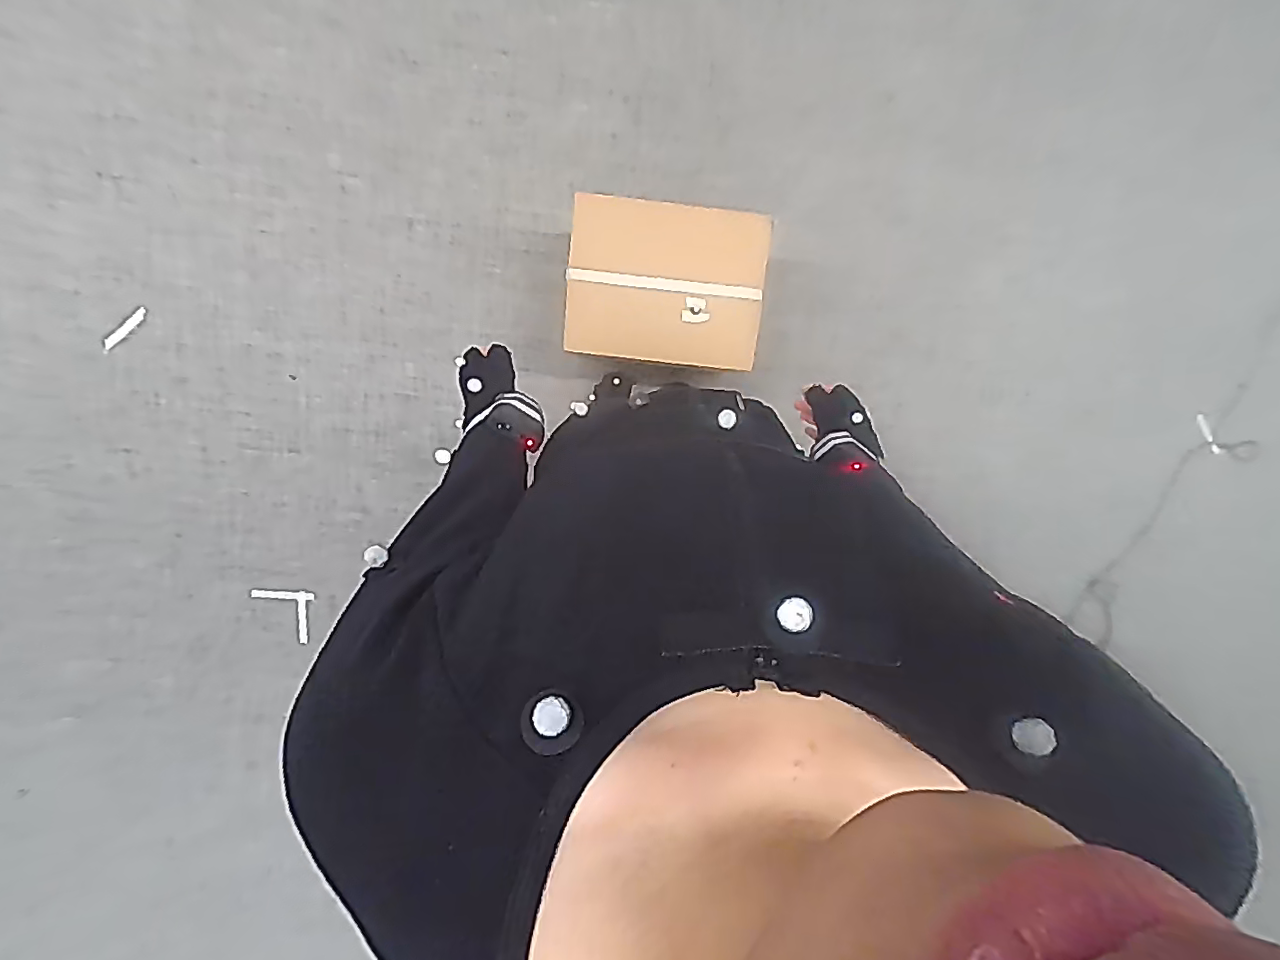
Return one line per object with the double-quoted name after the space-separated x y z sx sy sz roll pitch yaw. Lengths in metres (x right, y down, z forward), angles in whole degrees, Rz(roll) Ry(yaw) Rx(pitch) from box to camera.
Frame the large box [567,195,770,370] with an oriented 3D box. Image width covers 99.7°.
0.048 -0.431 1.258 0.408 0.320 0.320 5 101 -3 "large box"
